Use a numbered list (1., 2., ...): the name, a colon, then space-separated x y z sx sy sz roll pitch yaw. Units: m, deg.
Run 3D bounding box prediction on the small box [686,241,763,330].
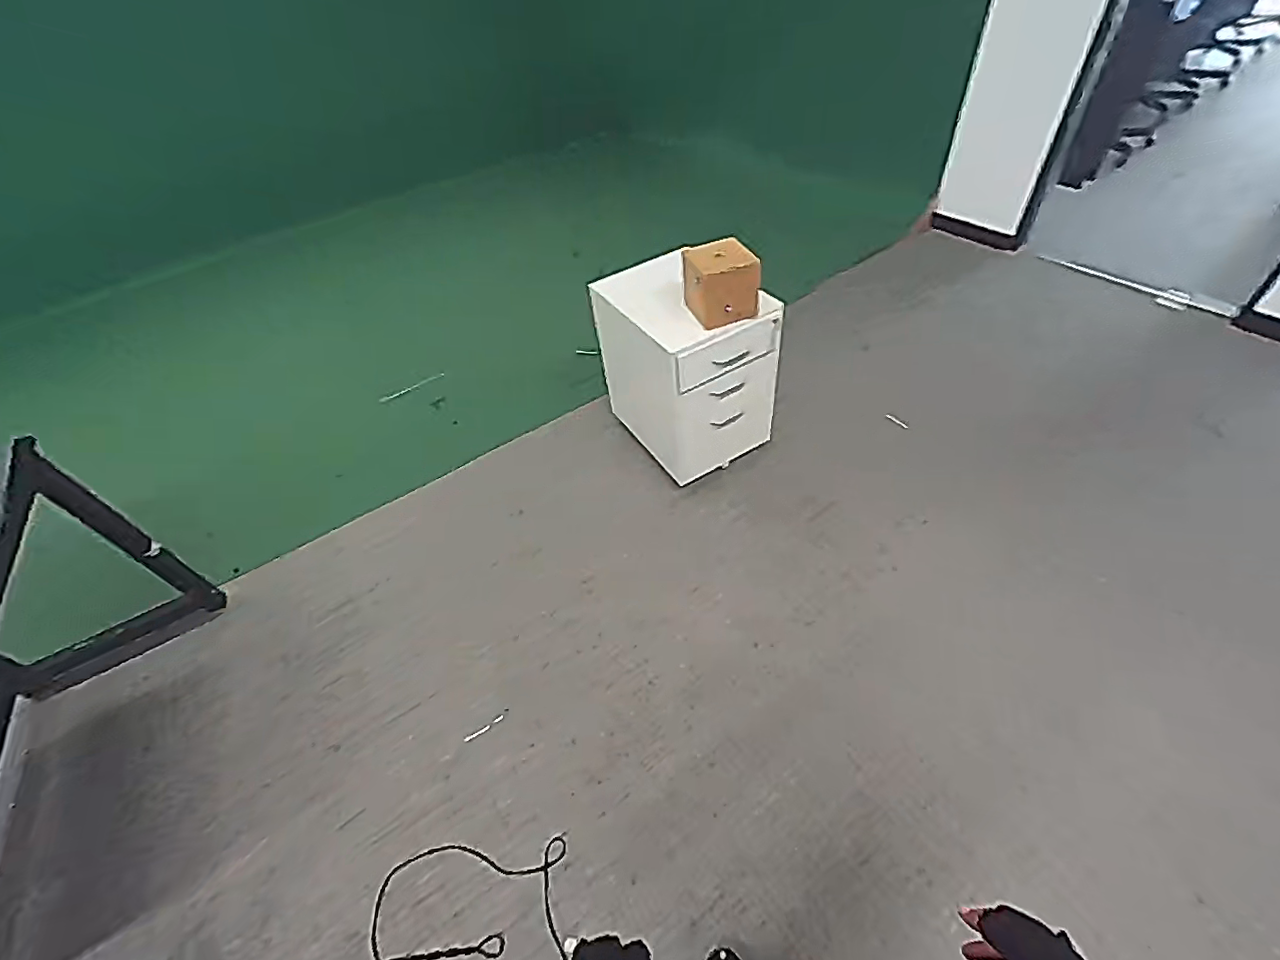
1. small box: 0.237 -0.555 1.547 0.168 0.176 0.179 -18 47 -7
